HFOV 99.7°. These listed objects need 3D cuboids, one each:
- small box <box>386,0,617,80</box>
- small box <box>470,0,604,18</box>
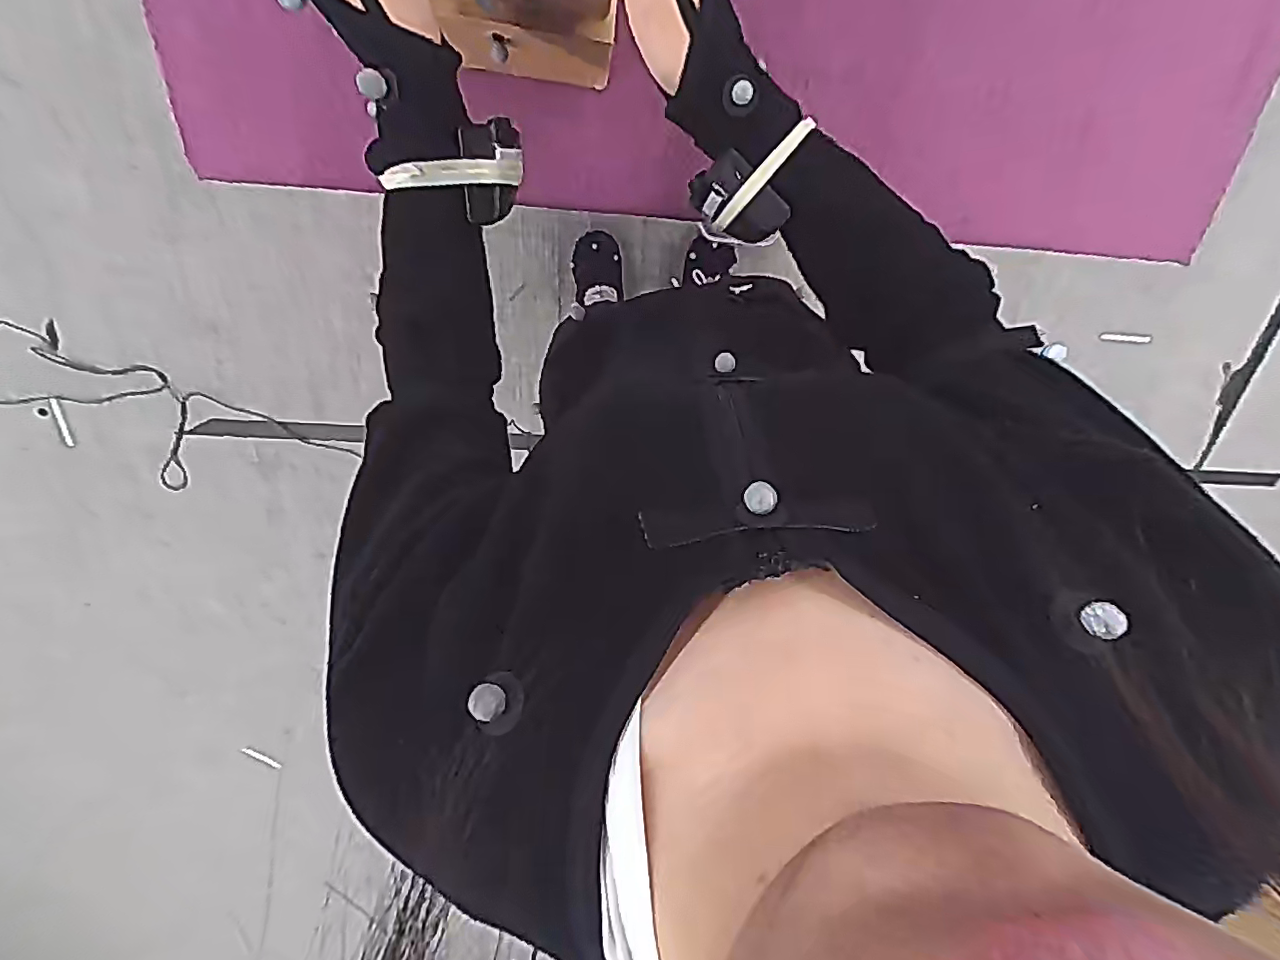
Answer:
[{"bbox_3d":[-0.105,-0.463,0.458,0.179,0.176,0.168,5,116,-7],"label":"small box"},{"bbox_3d":[-0.094,-0.405,0.304,0.168,0.176,0.179,2,117,-6],"label":"small box"}]
